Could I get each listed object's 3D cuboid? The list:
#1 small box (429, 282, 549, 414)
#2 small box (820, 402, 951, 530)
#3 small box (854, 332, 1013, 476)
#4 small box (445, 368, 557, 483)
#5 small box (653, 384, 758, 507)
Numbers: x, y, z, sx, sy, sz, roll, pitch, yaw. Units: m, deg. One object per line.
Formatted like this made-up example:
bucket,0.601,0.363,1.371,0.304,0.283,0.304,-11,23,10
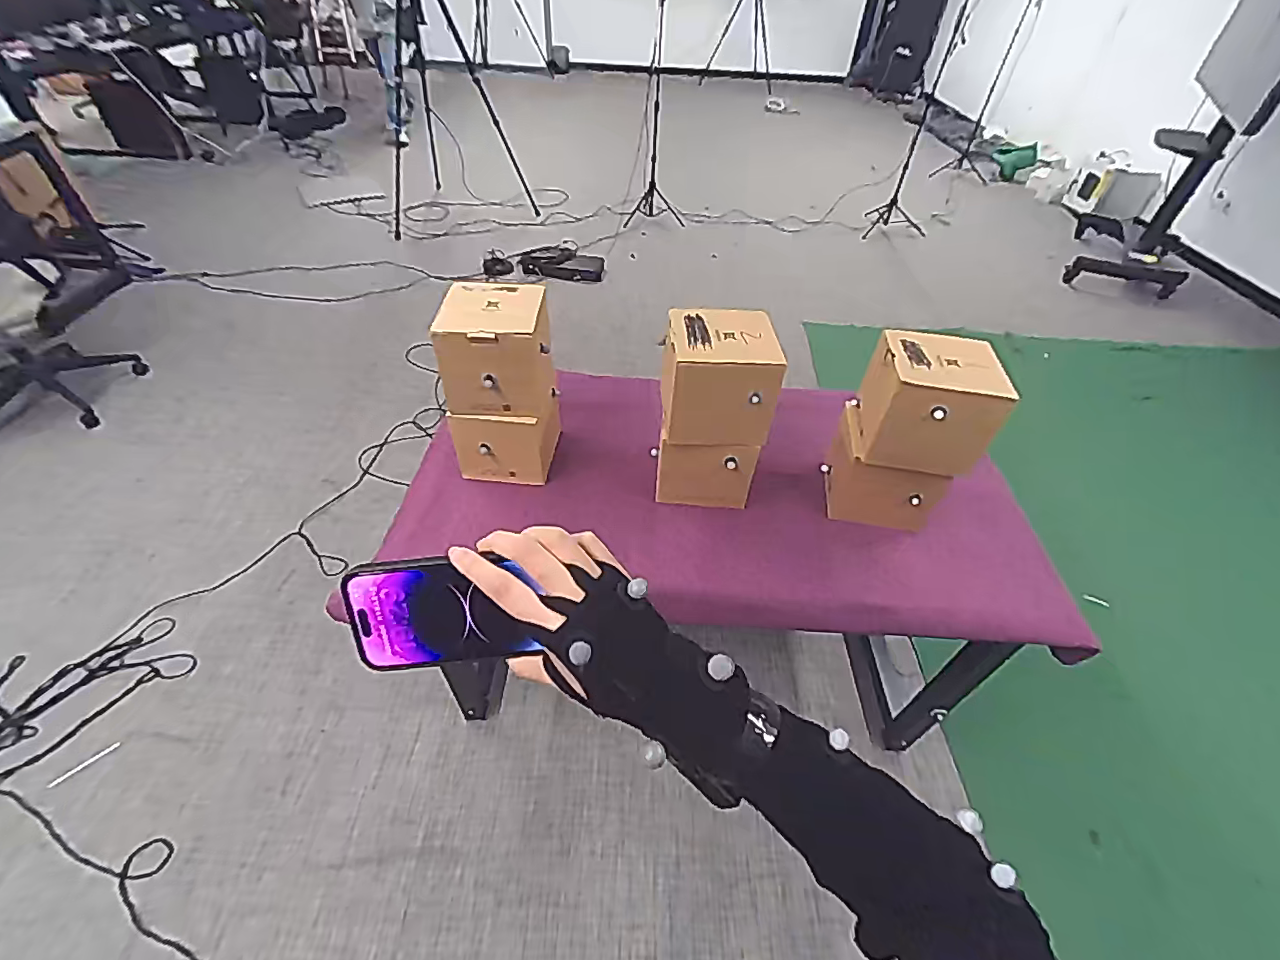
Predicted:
small box,-0.257,-0.234,0.971,0.168,0.176,0.179,2,46,-2
small box,0.460,-0.023,1.040,0.179,0.176,0.168,9,45,6
small box,0.475,-0.126,0.913,0.179,0.176,0.168,10,45,5
small box,-0.265,-0.113,1.083,0.168,0.176,0.179,5,45,2
small box,0.122,-0.064,1.058,0.179,0.176,0.168,5,45,2
